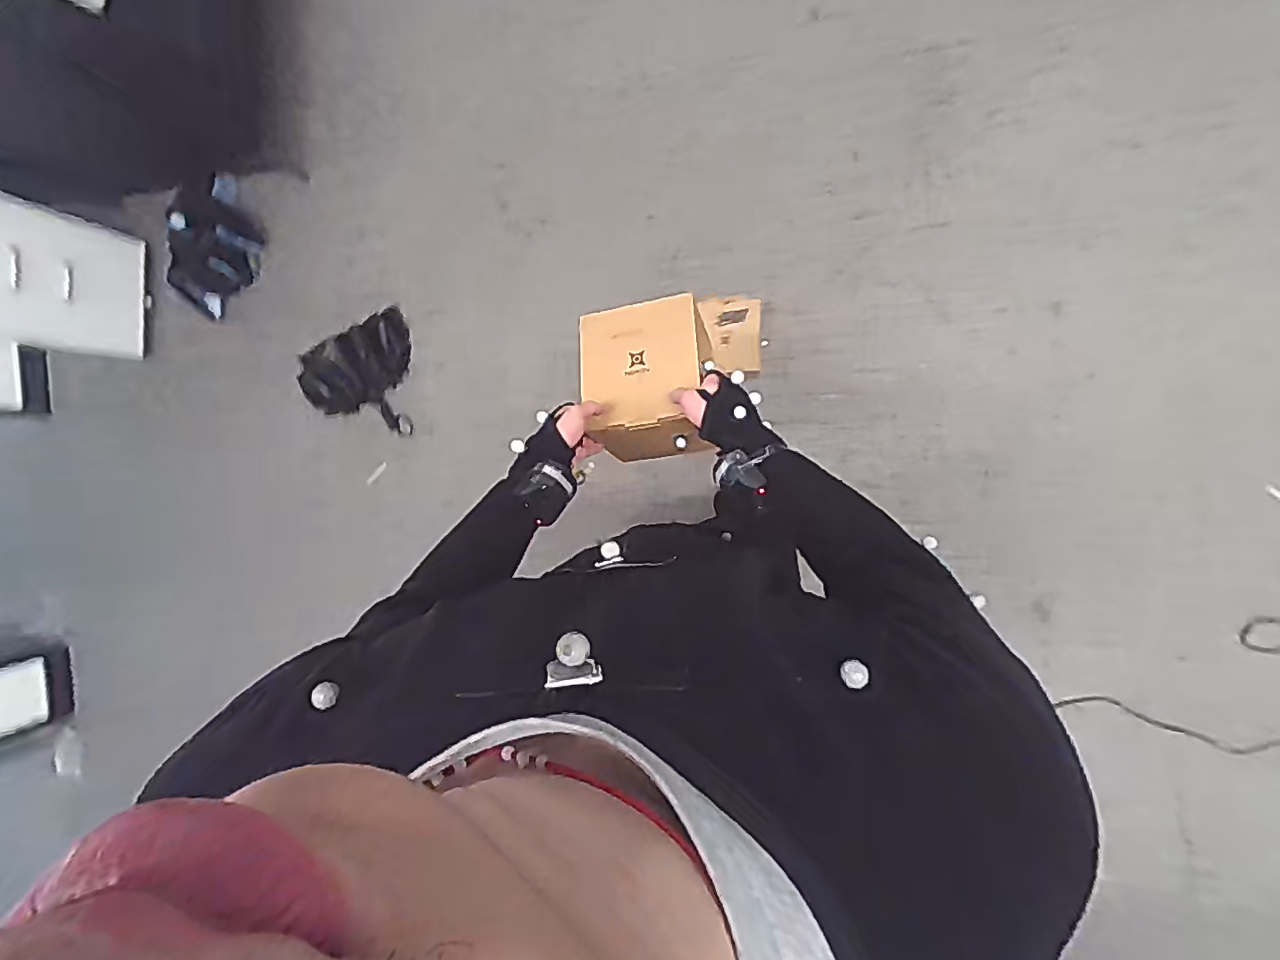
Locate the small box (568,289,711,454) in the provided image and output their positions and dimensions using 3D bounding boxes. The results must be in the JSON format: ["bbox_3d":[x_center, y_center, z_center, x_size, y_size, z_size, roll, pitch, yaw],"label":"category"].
[{"bbox_3d":[0.005,-0.144,0.795,0.168,0.176,0.179,-8,74,16],"label":"small box"}]

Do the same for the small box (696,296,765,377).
[{"bbox_3d":[0.238,-0.367,1.407,0.168,0.176,0.179,2,95,15],"label":"small box"}]
